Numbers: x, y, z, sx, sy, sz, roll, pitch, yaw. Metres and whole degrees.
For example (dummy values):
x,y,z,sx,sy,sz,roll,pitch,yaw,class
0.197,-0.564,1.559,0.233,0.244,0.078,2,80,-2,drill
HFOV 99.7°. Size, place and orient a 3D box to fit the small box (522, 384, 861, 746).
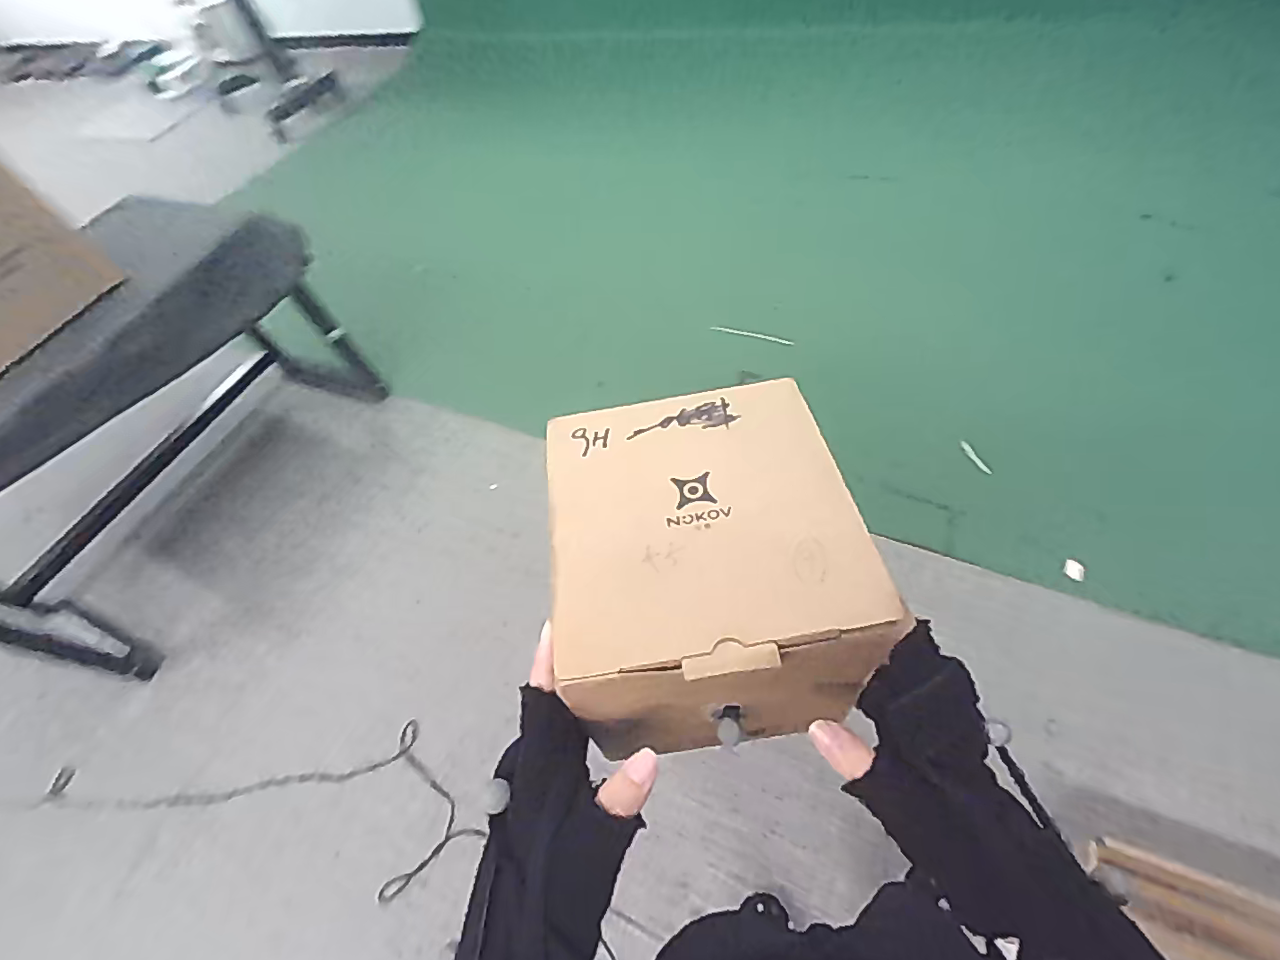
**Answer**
x,y,z,sx,sy,sz,roll,pitch,yaw,class
0.025,0.067,0.366,0.168,0.176,0.179,-10,52,1,small box
